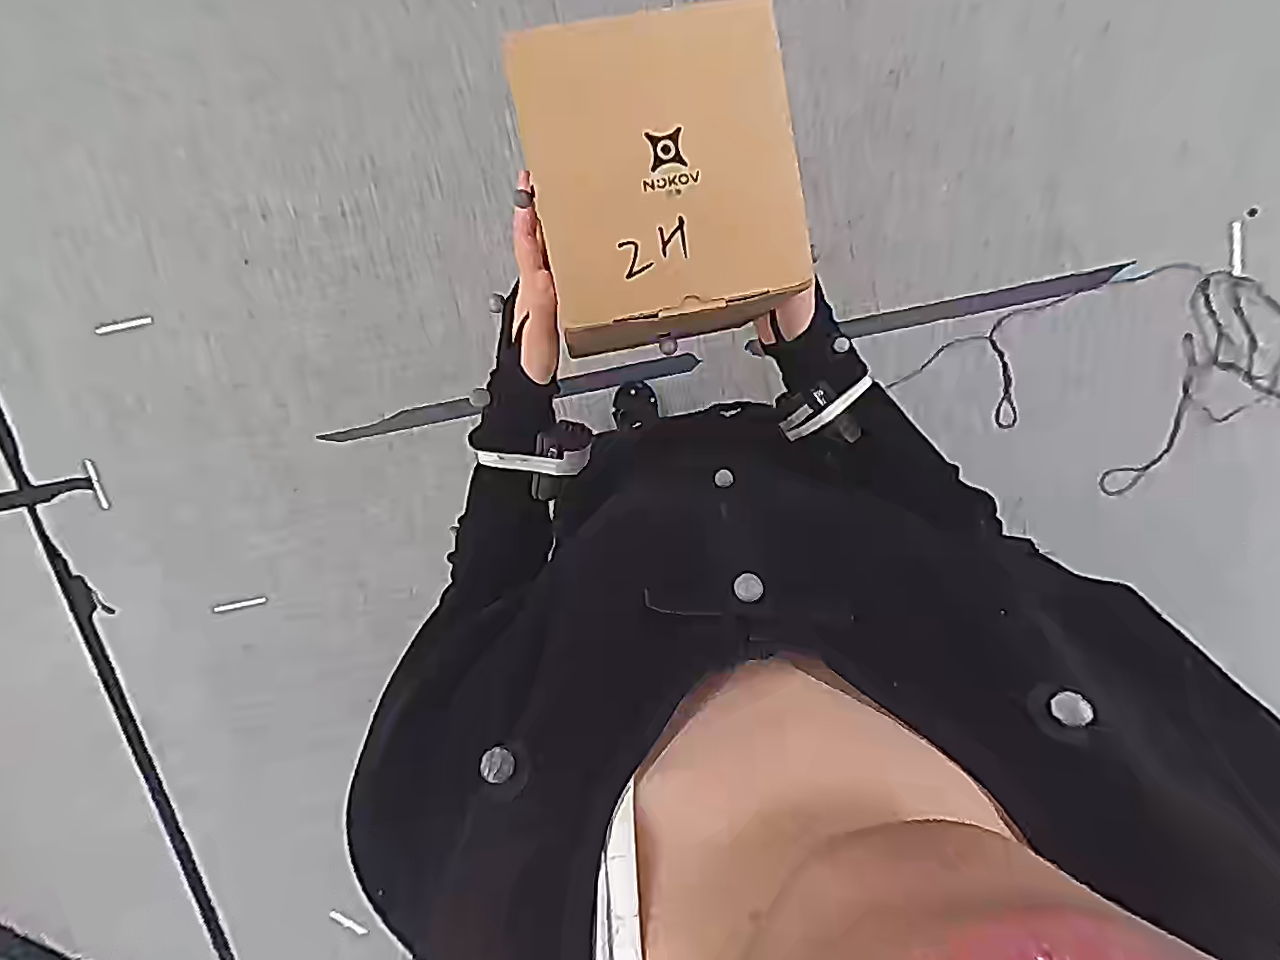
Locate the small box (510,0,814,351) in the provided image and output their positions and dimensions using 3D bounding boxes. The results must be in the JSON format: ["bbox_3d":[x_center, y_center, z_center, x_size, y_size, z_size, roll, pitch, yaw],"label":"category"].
[{"bbox_3d":[0.008,-0.207,0.407,0.168,0.176,0.179,-12,98,-4],"label":"small box"}]
